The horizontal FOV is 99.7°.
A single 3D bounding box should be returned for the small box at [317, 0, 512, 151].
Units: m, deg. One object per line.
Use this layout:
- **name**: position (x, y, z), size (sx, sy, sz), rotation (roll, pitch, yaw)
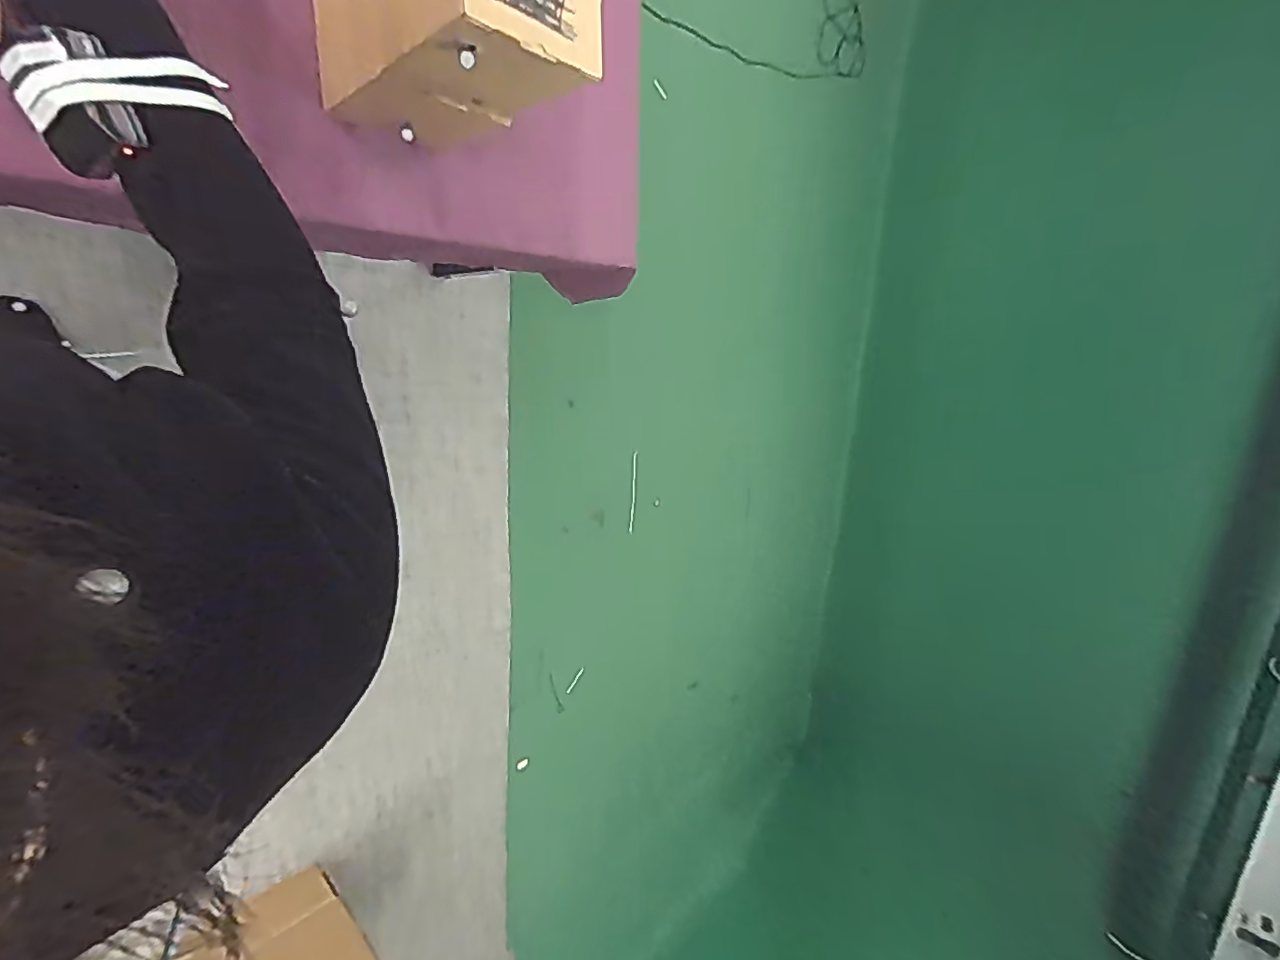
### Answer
- **small box**: position (-0.274, -0.533, 0.658), size (0.168, 0.176, 0.179), rotation (-12, 110, -46)
